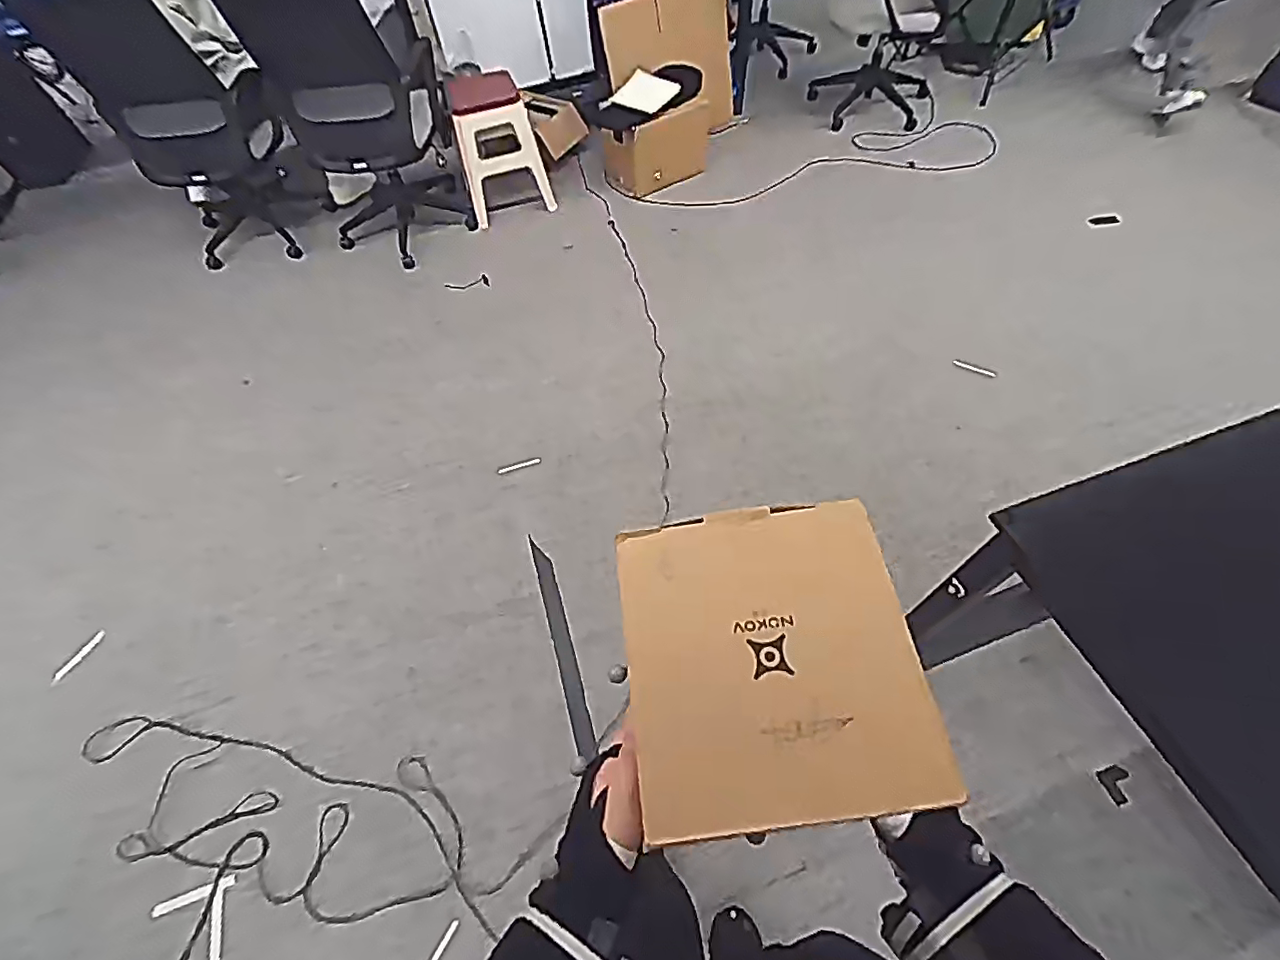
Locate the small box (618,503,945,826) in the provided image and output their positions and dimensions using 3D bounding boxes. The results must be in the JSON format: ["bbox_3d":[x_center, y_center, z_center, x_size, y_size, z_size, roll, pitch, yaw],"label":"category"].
[{"bbox_3d":[0.076,0.137,0.395,0.168,0.176,0.179,-7,61,0],"label":"small box"}]
